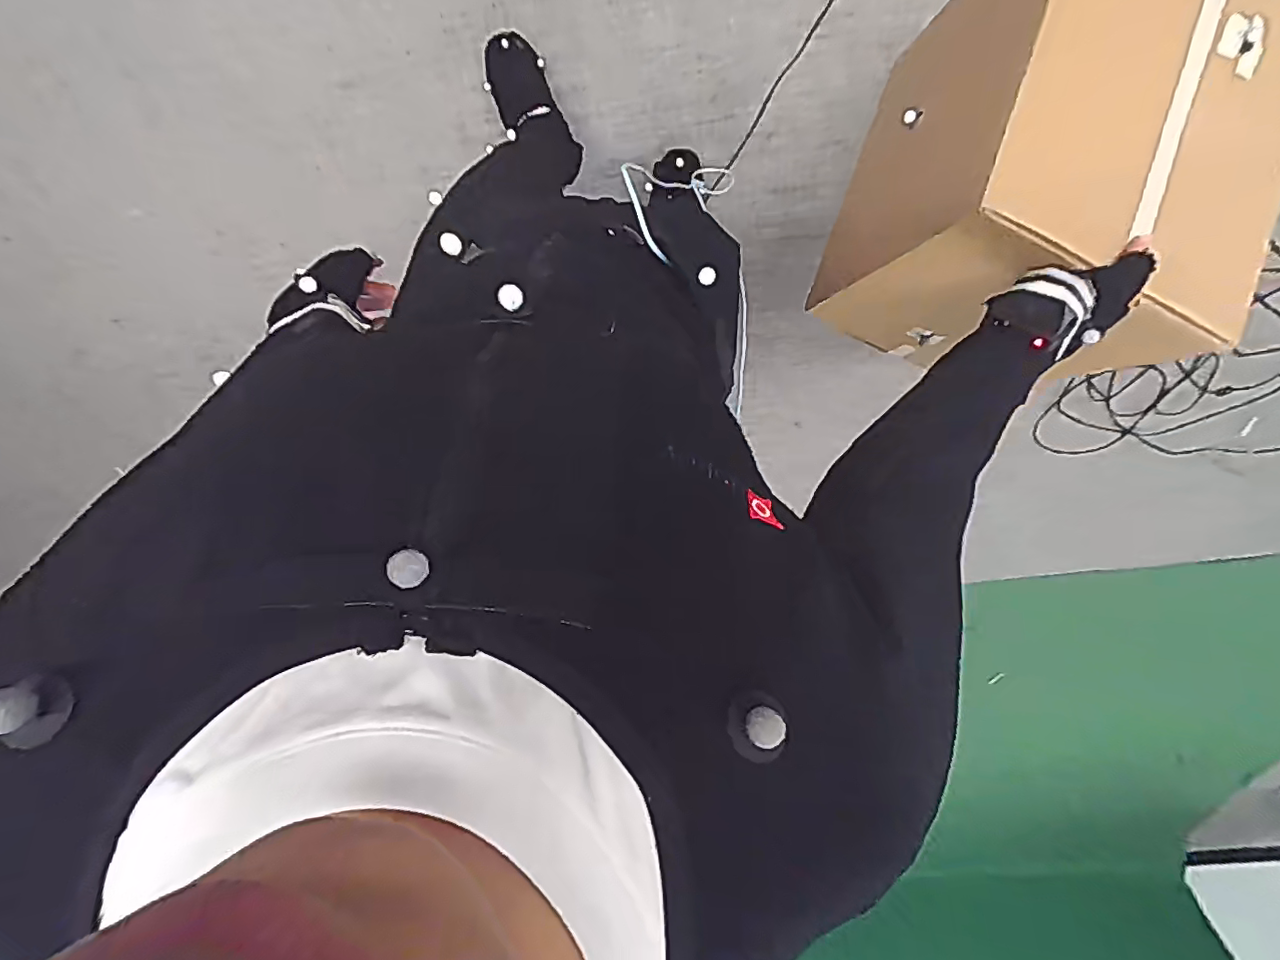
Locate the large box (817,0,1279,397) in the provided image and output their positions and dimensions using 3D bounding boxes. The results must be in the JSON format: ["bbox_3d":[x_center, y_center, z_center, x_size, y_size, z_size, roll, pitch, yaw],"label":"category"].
[{"bbox_3d":[0.477,-0.359,0.667,0.320,0.320,0.408,21,86,-11],"label":"large box"}]
